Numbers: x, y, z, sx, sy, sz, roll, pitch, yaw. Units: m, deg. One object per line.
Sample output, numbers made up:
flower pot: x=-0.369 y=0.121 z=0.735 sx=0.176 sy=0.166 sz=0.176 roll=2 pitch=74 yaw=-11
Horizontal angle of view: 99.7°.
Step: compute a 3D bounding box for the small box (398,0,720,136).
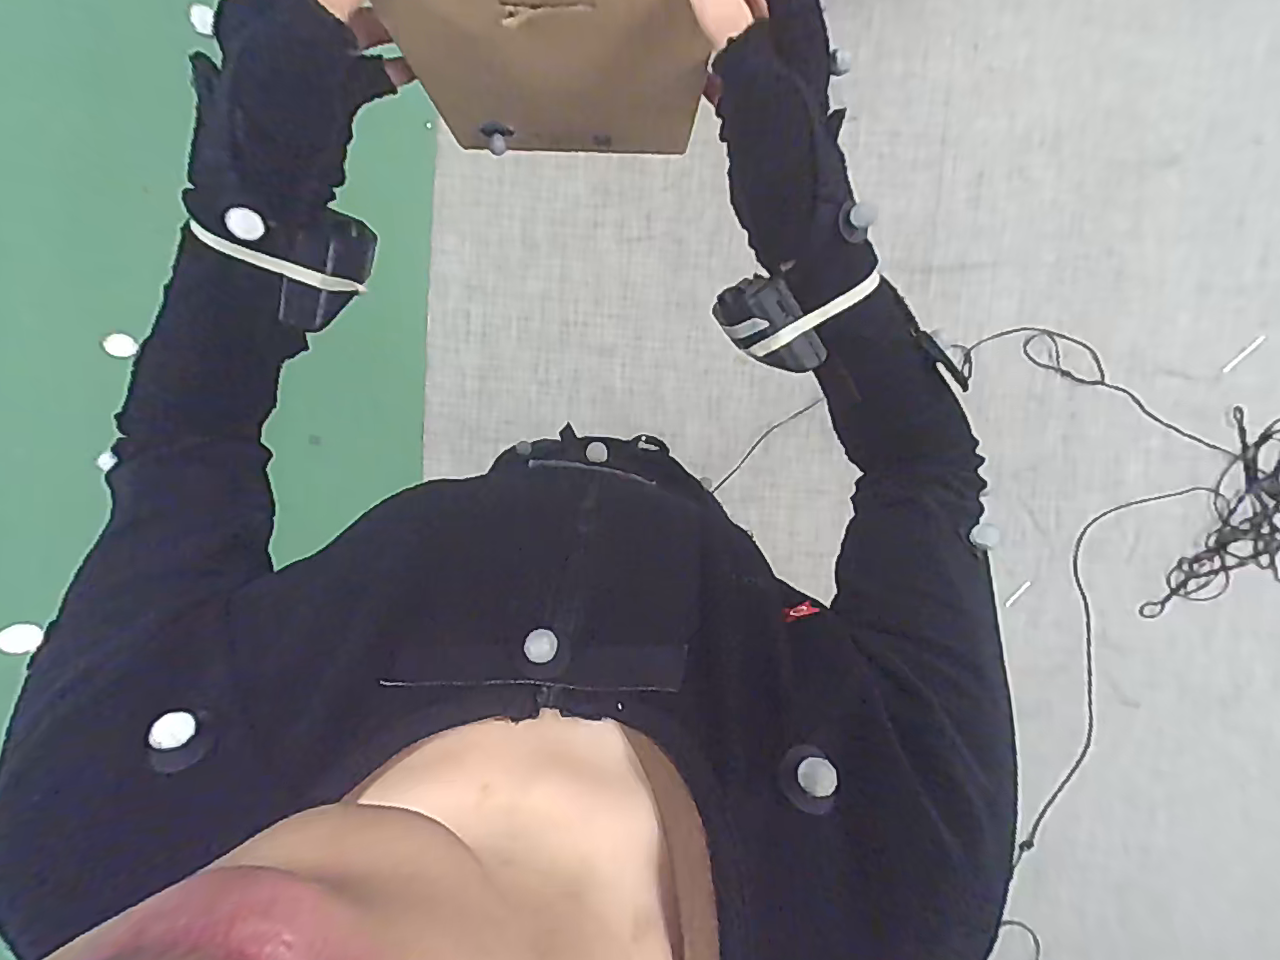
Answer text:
small box: x=-0.039 y=-0.321 z=0.298 sx=0.168 sy=0.176 sz=0.179 roll=0 pitch=96 yaw=-3
